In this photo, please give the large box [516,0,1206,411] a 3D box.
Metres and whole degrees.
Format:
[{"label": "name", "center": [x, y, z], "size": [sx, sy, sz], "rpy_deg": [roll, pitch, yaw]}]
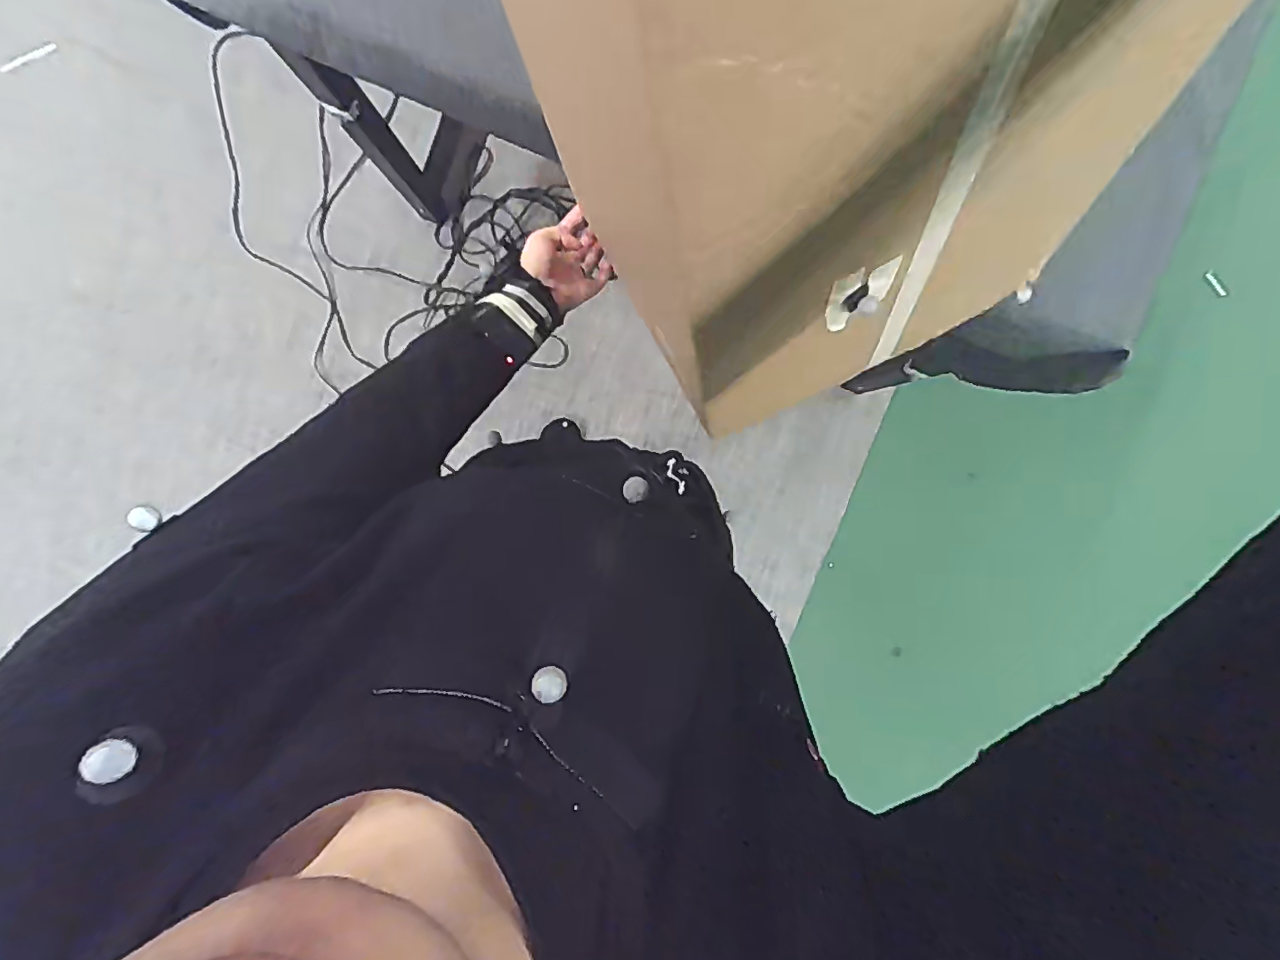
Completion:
[{"label": "large box", "center": [0.104, -0.309, 0.342], "size": [0.320, 0.408, 0.320], "rpy_deg": [-28, 72, 2]}]
